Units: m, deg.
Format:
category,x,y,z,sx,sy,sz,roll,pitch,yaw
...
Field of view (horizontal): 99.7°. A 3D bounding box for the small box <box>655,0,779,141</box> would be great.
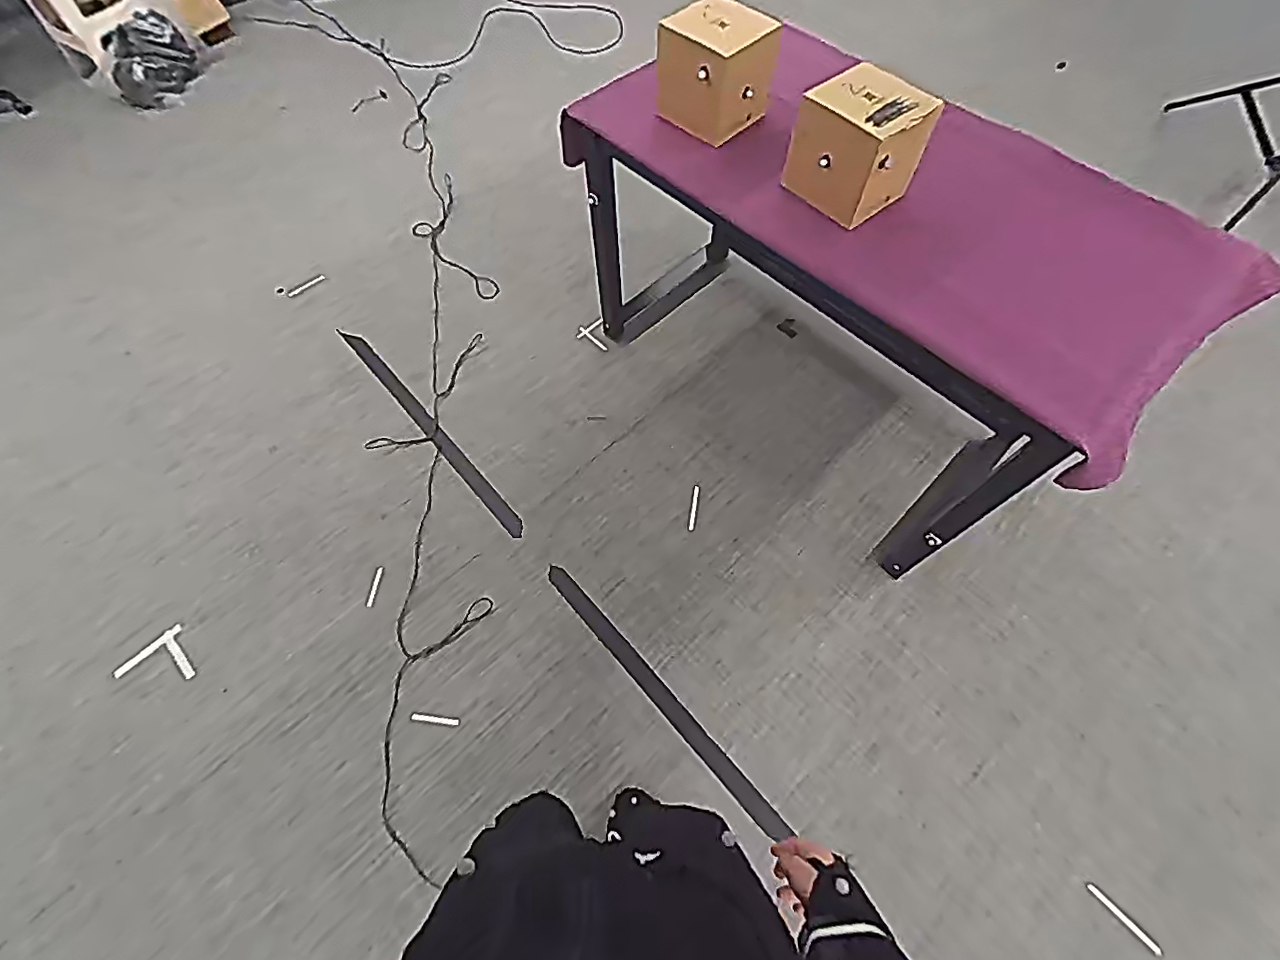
category,x,y,z,sx,sy,sz,roll,pitch,yaw
small box,0.147,-0.824,1.093,0.179,0.176,0.168,41,69,19
